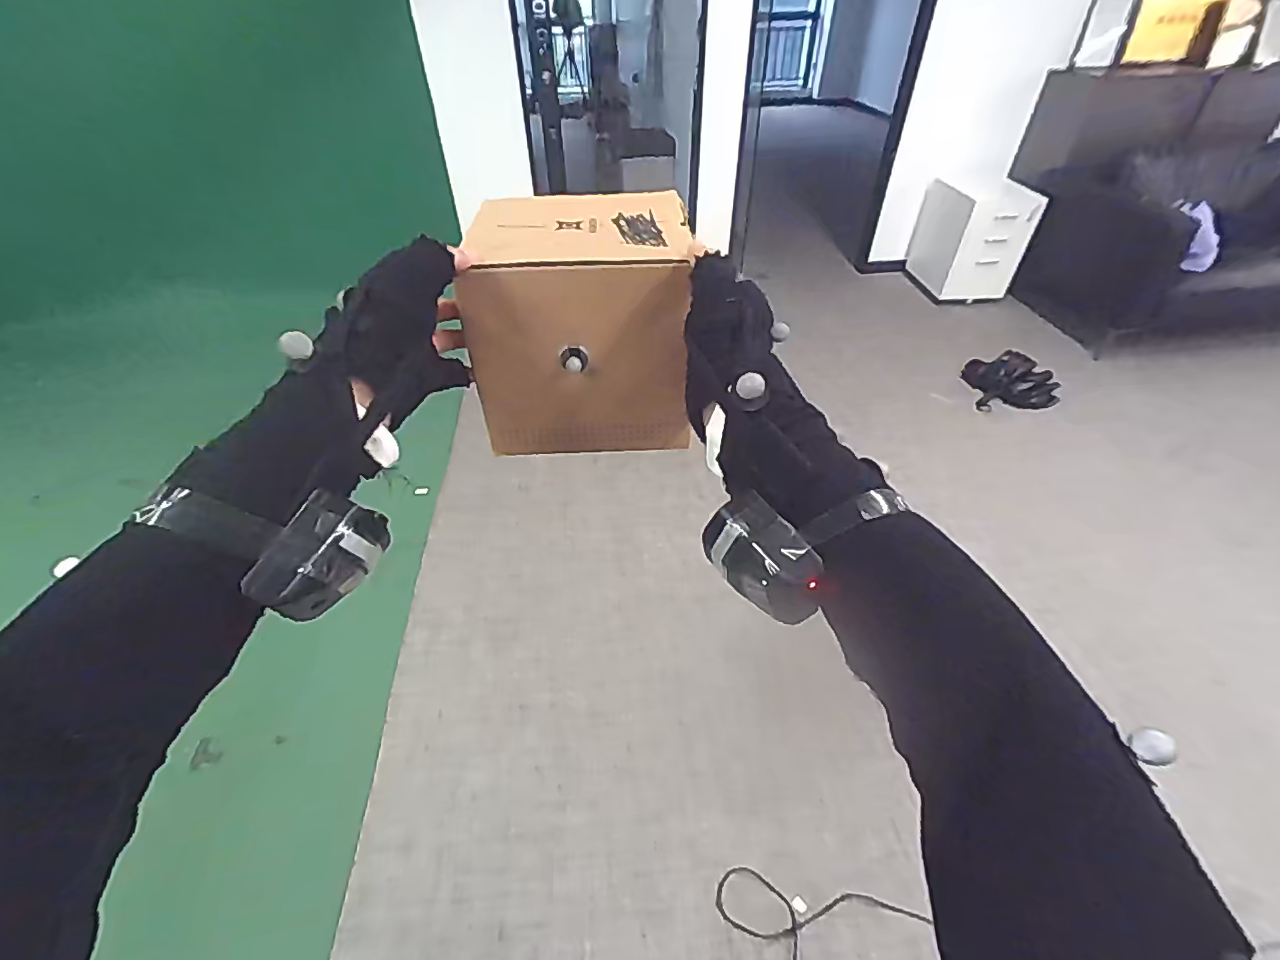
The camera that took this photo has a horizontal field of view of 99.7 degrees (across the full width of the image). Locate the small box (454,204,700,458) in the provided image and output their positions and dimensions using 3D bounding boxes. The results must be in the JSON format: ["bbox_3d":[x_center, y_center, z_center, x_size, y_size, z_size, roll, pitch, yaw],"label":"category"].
[{"bbox_3d":[-0.046,-0.135,0.492,0.179,0.176,0.168,-4,41,-1],"label":"small box"}]
